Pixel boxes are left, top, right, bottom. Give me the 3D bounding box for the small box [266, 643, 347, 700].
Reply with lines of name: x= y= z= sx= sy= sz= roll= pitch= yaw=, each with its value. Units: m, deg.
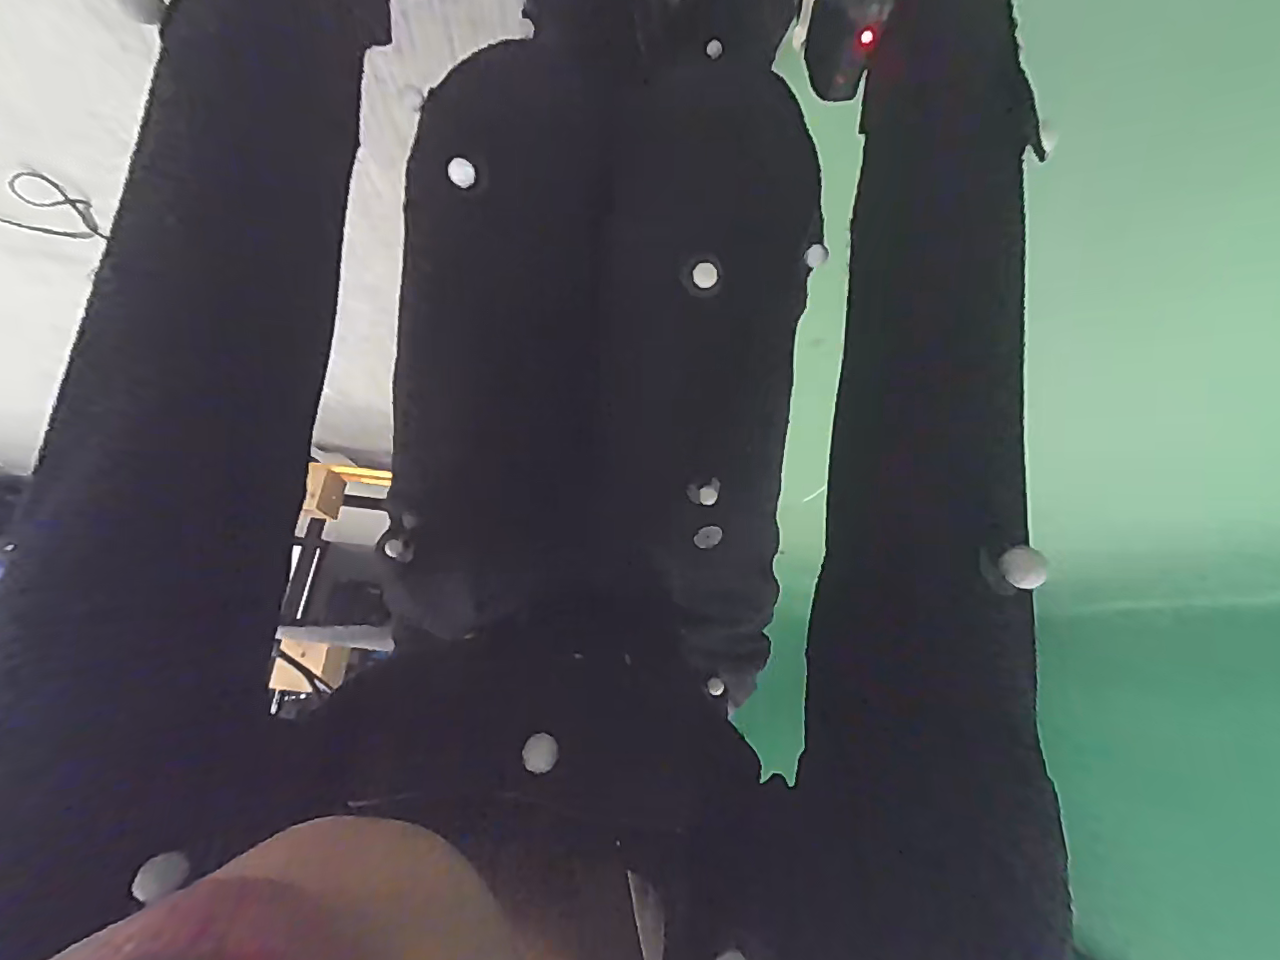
small box: x=-1.176 y=0.676 z=1.924 sx=0.168 sy=0.176 sz=0.179 roll=6 pitch=162 yaw=-1
